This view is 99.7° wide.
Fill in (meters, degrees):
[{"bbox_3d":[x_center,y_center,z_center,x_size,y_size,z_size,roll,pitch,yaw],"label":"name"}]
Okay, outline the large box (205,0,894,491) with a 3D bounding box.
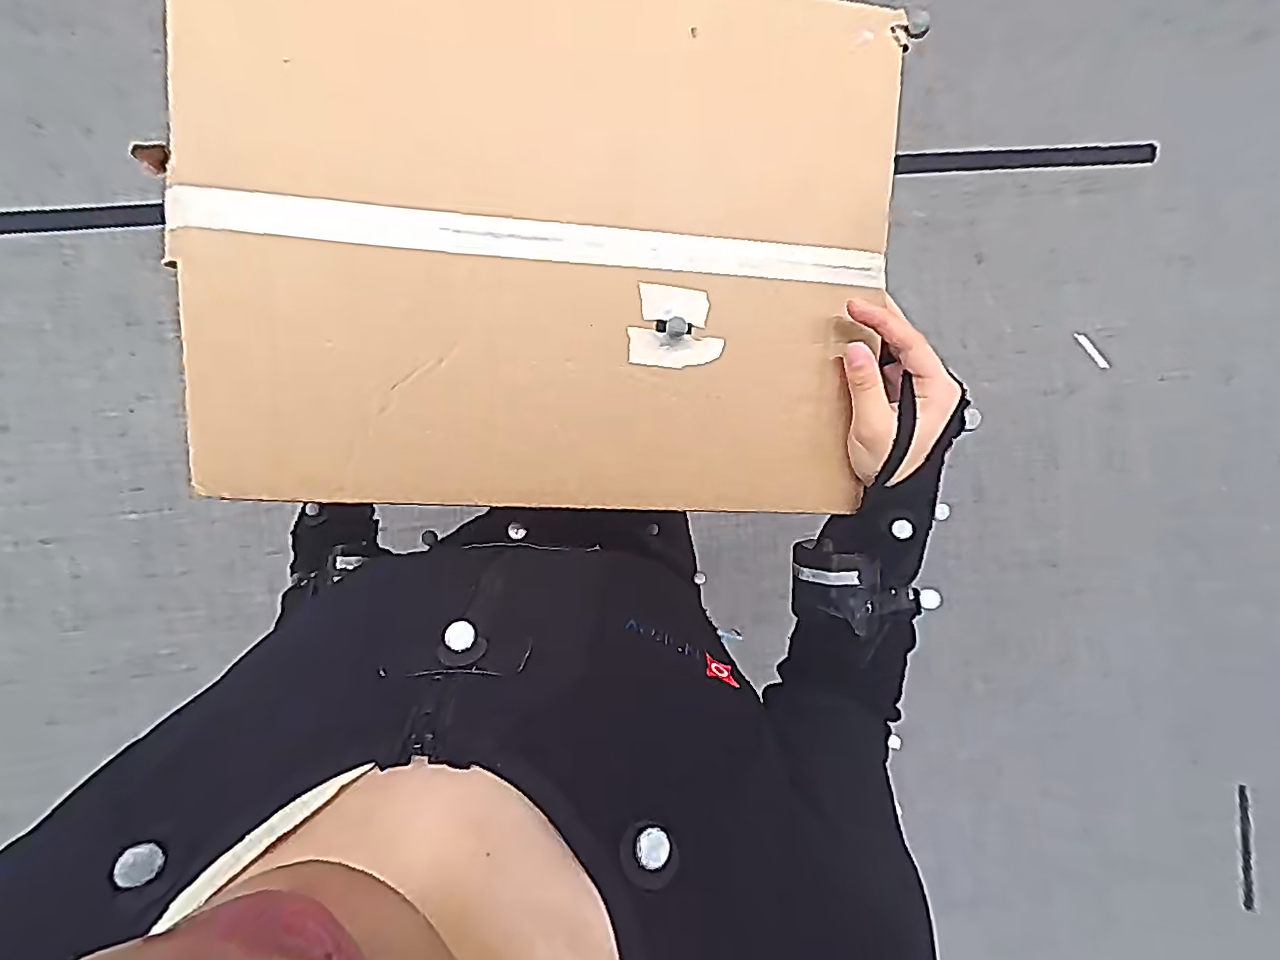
[{"bbox_3d":[-0.064,-0.164,0.472,0.408,0.320,0.320,2,97,-10],"label":"large box"}]
